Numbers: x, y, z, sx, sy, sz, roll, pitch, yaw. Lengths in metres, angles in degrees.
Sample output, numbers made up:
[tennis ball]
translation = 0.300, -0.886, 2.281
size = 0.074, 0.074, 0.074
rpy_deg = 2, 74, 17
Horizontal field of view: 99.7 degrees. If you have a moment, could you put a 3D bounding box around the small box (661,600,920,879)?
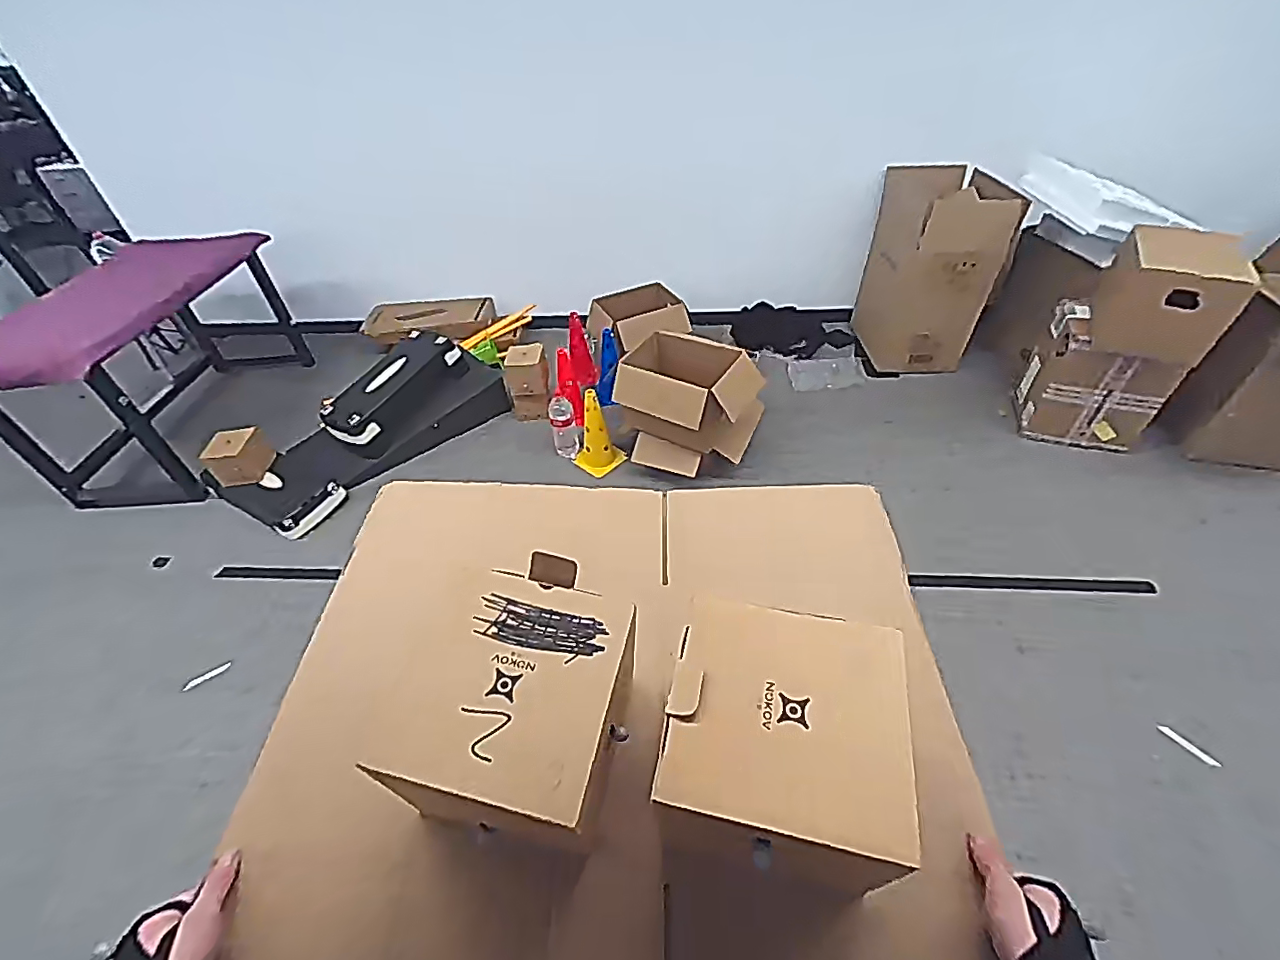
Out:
[small box]
translation = 0.125, 0.231, 0.478
size = 0.179, 0.176, 0.168
rpy_deg = 6, 49, 13
